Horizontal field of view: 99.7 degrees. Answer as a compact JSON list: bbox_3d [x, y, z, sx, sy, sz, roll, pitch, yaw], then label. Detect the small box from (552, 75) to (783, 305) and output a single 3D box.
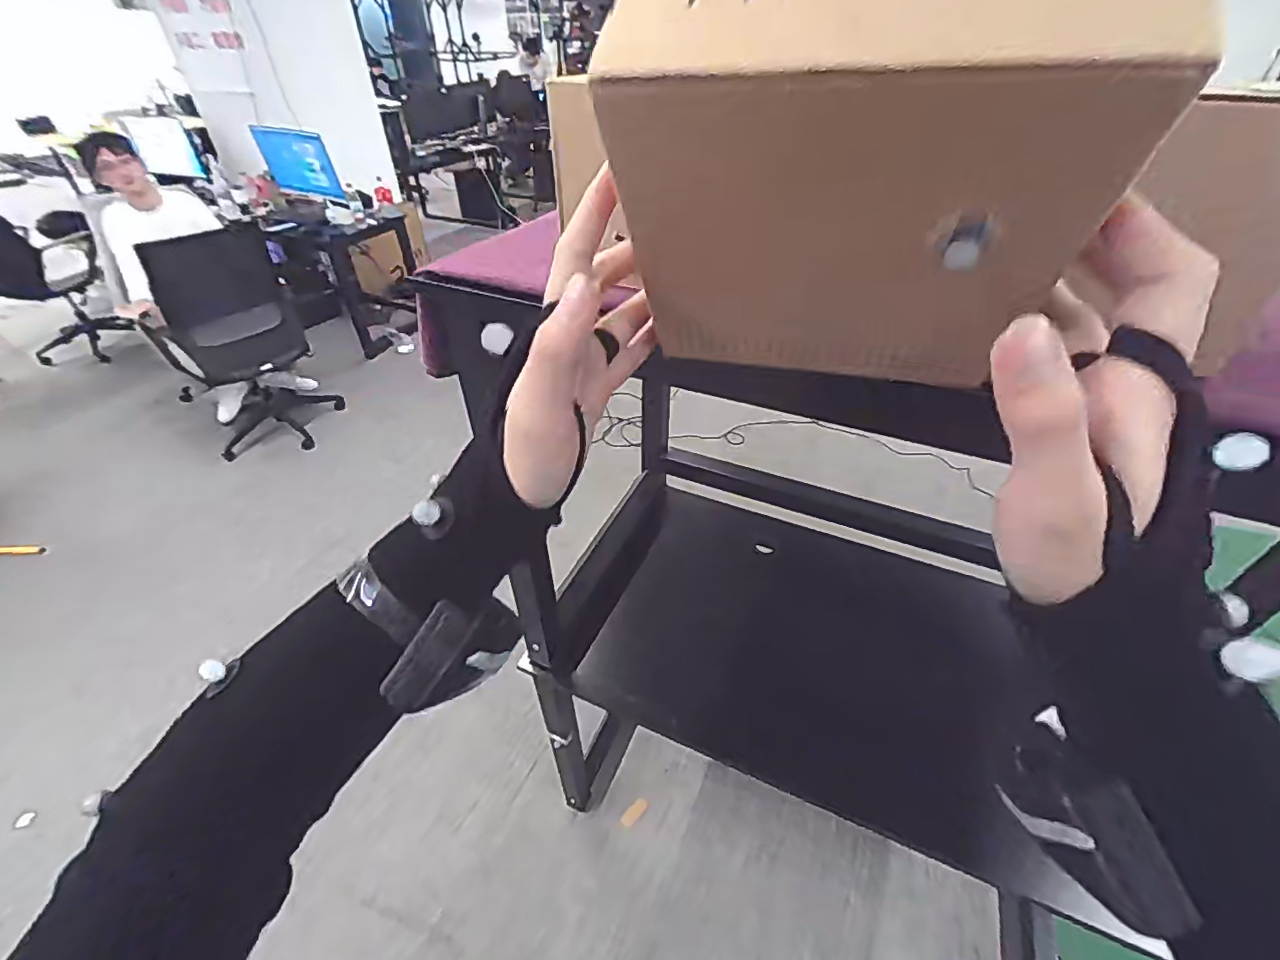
[{"bbox_3d":[0.031,-0.294,0.538,0.168,0.176,0.179,15,42,18],"label":"small box"}]
